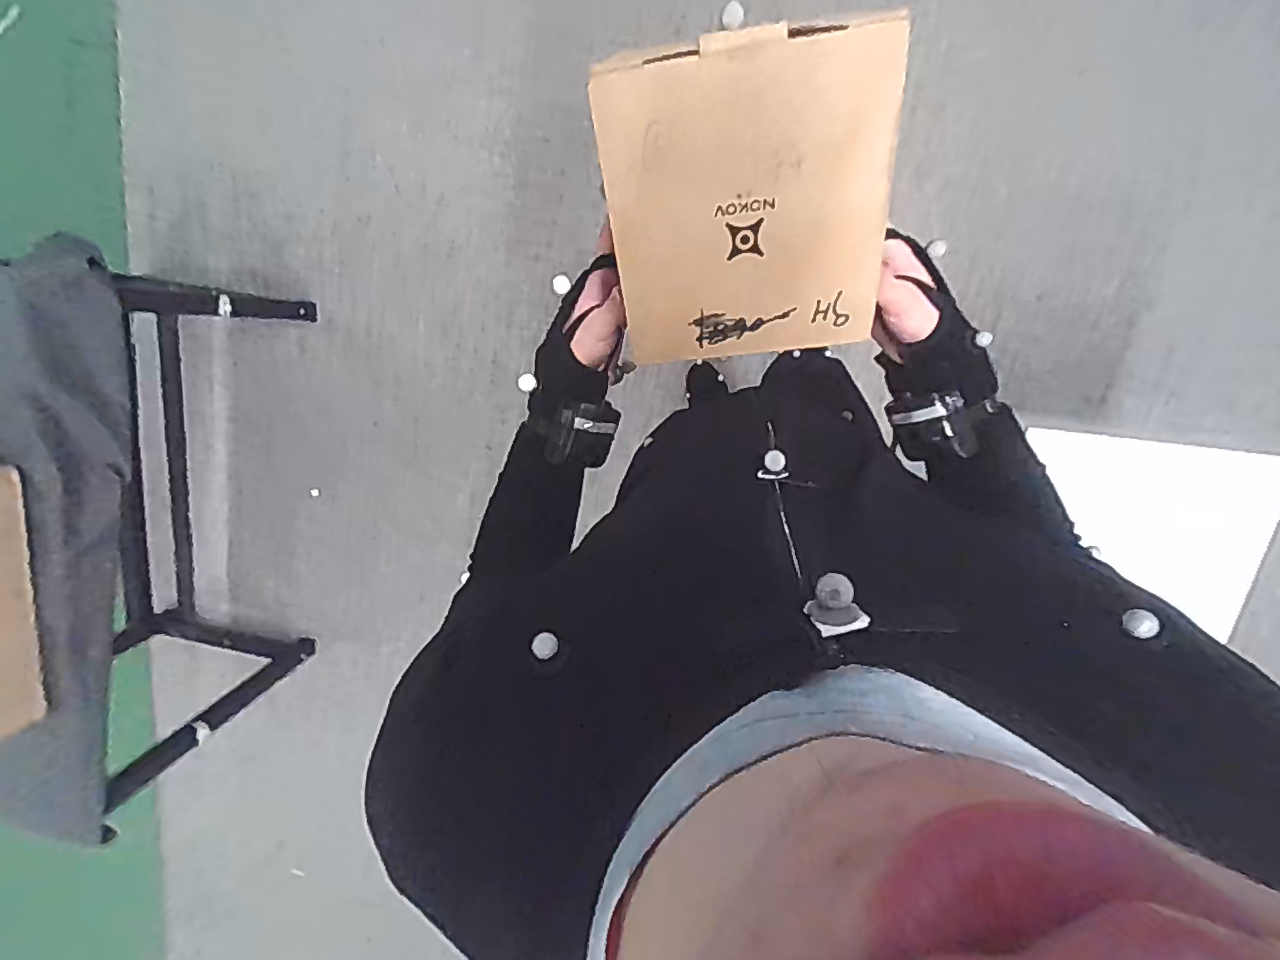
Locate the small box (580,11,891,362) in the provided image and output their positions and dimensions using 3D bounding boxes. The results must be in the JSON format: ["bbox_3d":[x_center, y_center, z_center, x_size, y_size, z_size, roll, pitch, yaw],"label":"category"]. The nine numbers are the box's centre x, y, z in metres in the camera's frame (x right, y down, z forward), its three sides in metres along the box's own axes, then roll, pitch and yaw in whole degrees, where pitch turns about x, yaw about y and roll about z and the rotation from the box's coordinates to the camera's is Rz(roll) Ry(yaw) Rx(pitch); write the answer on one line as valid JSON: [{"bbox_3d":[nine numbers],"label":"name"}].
[{"bbox_3d":[0.062,-0.209,0.392,0.168,0.176,0.179,-4,129,9],"label":"small box"}]
